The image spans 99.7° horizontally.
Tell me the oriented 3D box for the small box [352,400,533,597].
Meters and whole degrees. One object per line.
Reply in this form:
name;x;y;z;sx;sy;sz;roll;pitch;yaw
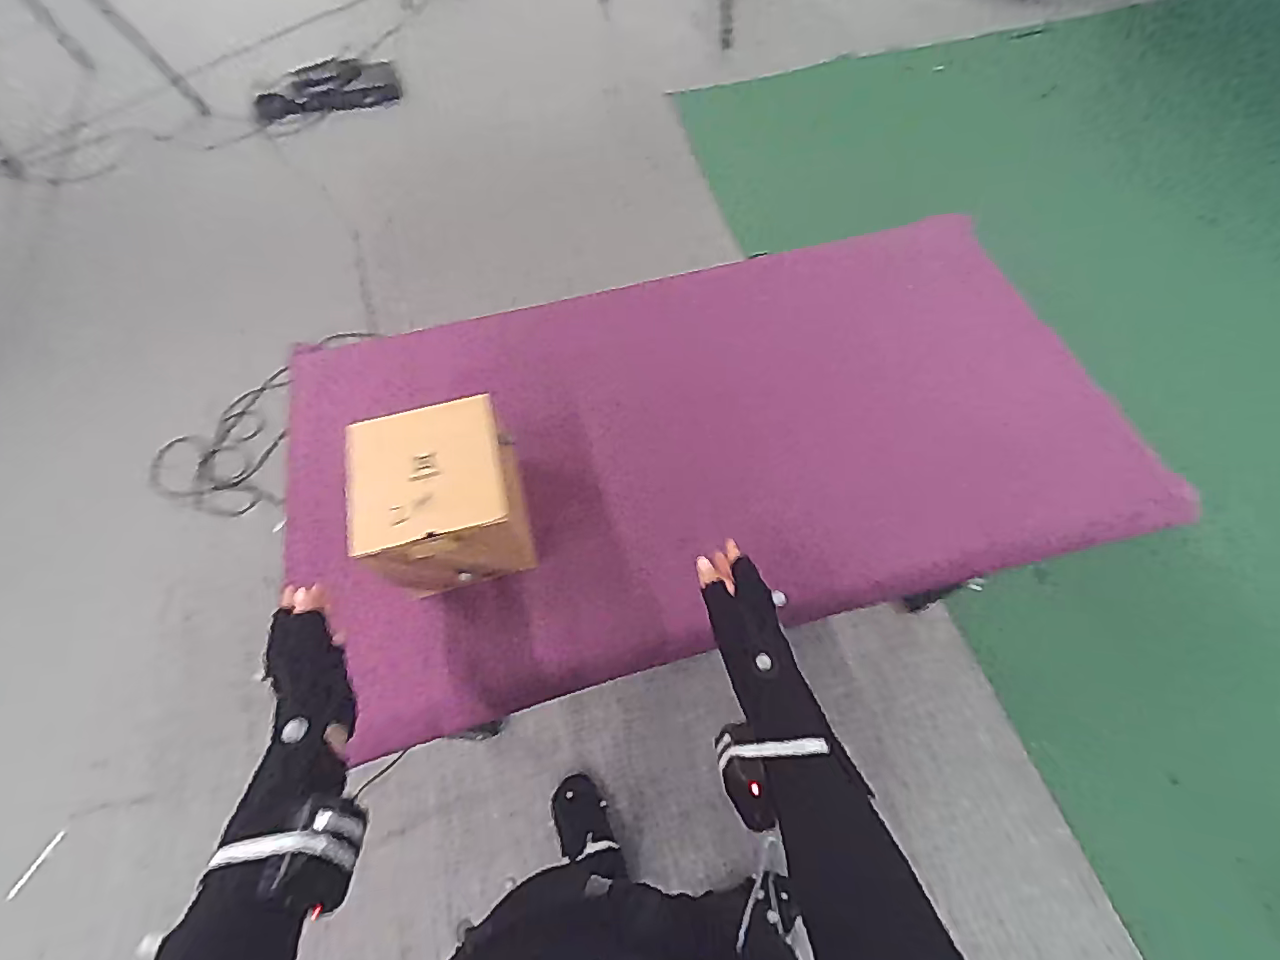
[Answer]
small box;-0.244;0.029;0.690;0.168;0.176;0.179;-14;63;-5
